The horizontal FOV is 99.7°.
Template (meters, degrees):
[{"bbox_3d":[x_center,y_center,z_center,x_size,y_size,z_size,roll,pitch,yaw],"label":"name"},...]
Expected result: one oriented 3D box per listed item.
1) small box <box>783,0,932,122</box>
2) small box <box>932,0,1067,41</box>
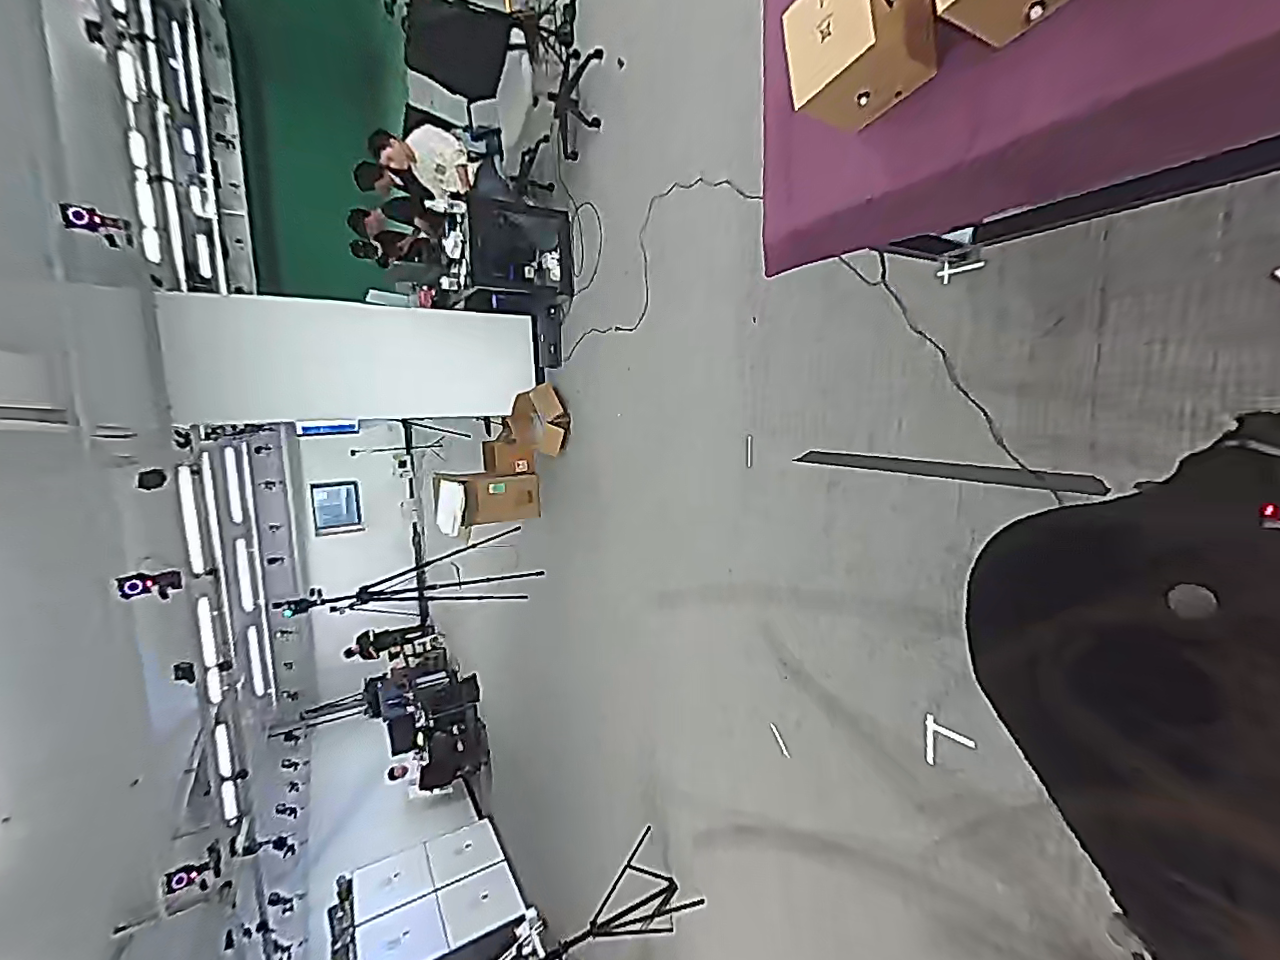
[{"bbox_3d":[0.372,-0.748,0.923,0.168,0.176,0.179,-6,90,59],"label":"small box"},{"bbox_3d":[0.501,-0.734,0.706,0.168,0.176,0.179,-8,88,61],"label":"small box"}]
